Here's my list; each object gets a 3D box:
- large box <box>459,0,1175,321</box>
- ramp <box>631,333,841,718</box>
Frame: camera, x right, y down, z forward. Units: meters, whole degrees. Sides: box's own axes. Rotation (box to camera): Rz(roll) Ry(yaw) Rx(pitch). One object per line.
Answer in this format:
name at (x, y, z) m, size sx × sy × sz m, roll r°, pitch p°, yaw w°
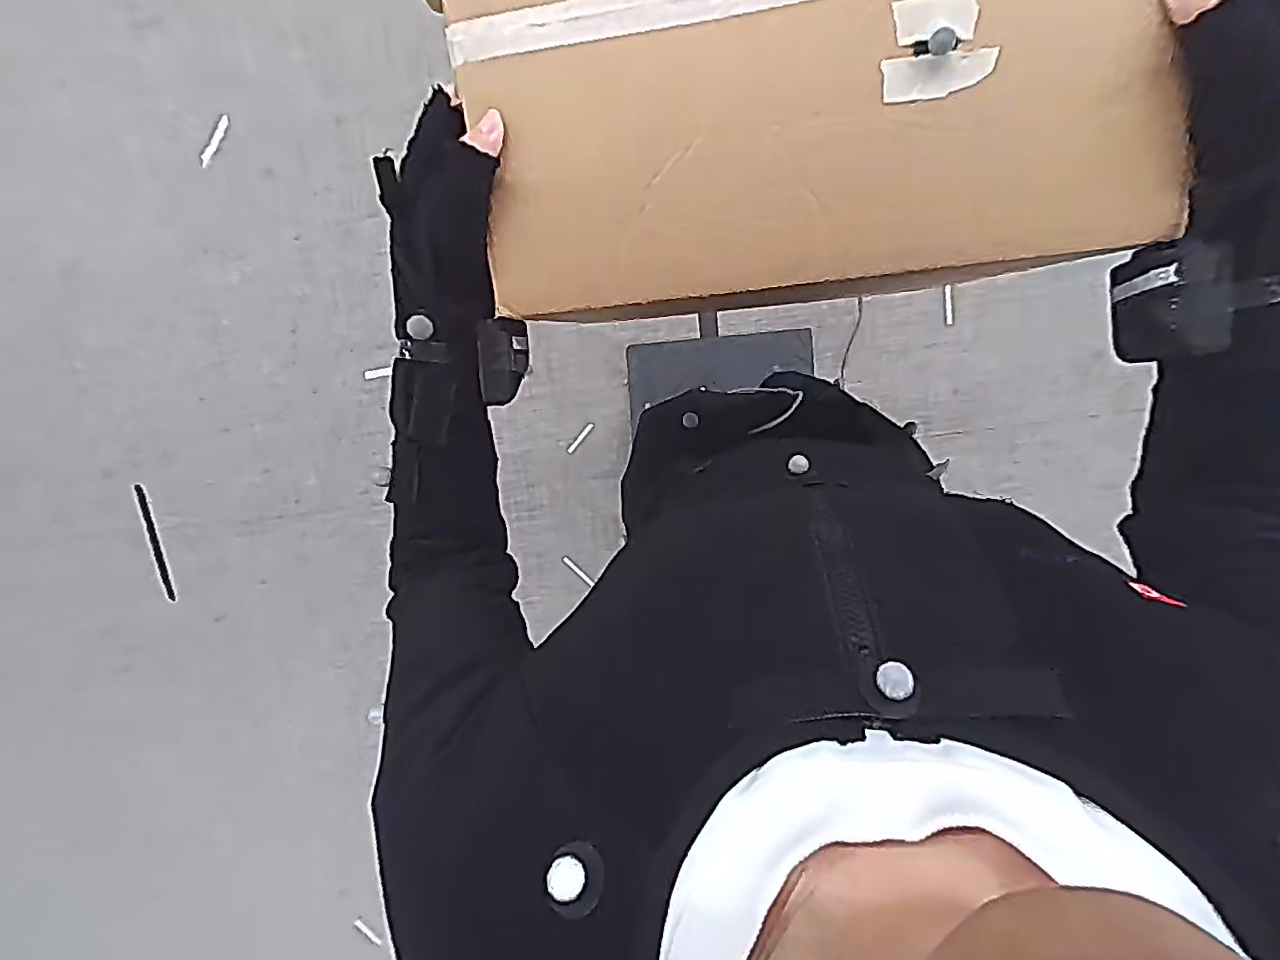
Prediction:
large box at (0.102, -0.320, 0.452) m, size 0.408 × 0.320 × 0.320 m, roll -5°, pitch 105°, yaw 7°
ramp at (0.242, 0.126, 1.440) m, size 0.509 × 0.206 × 0.991 m, roll -5°, pitch 98°, yaw 9°
